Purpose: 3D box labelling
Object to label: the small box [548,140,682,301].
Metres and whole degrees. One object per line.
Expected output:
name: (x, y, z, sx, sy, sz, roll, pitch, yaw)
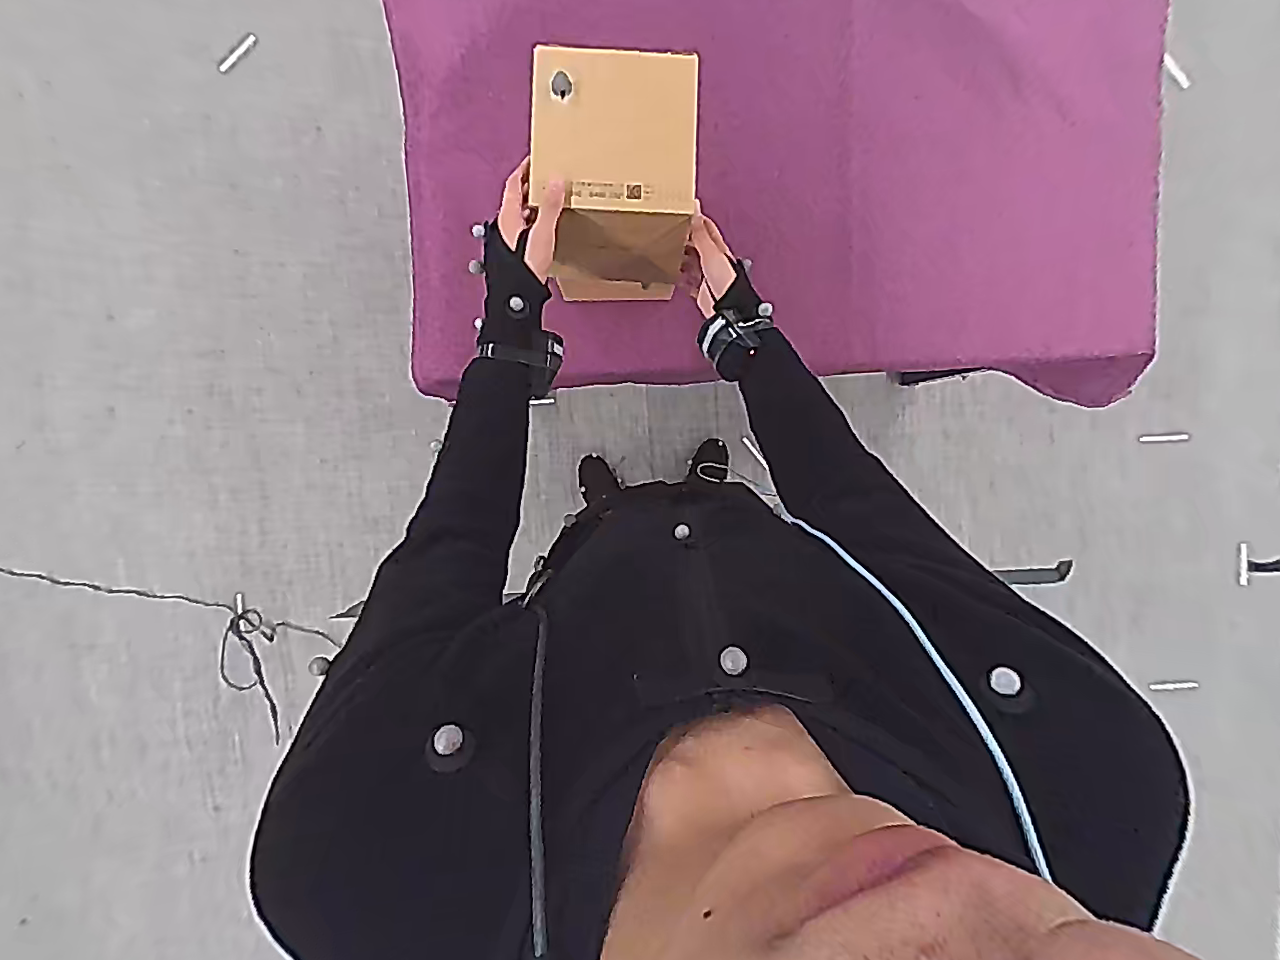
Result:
small box: (-0.036, -0.367, 0.790, 0.179, 0.176, 0.168, -1, 94, -2)
